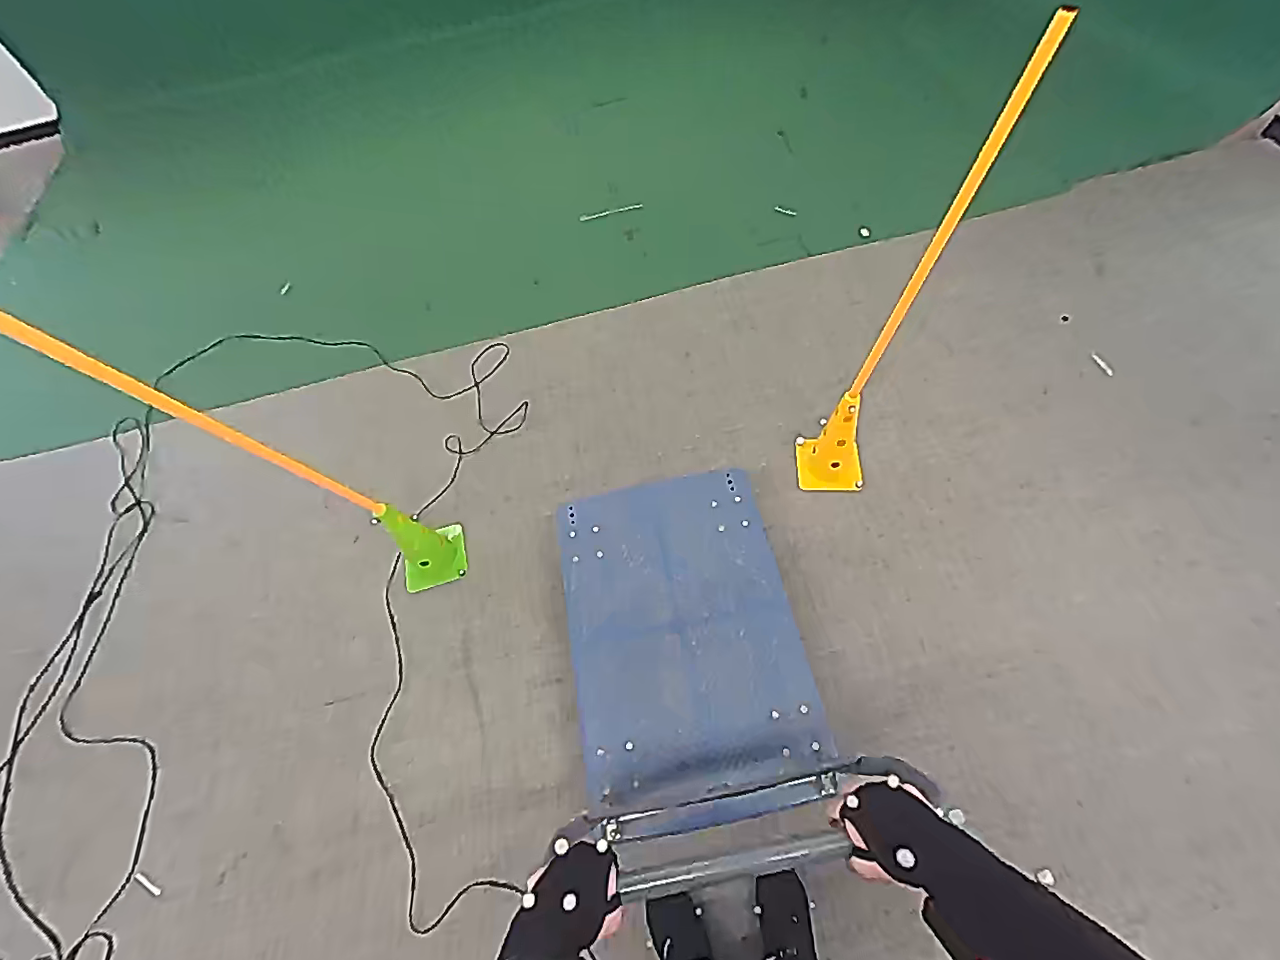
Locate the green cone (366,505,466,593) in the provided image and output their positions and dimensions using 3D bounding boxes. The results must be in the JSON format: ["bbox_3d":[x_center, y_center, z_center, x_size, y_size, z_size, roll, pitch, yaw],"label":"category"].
[{"bbox_3d":[-0.701,0.169,1.628,0.202,0.368,0.200,-19,59,-2],"label":"green cone"}]
